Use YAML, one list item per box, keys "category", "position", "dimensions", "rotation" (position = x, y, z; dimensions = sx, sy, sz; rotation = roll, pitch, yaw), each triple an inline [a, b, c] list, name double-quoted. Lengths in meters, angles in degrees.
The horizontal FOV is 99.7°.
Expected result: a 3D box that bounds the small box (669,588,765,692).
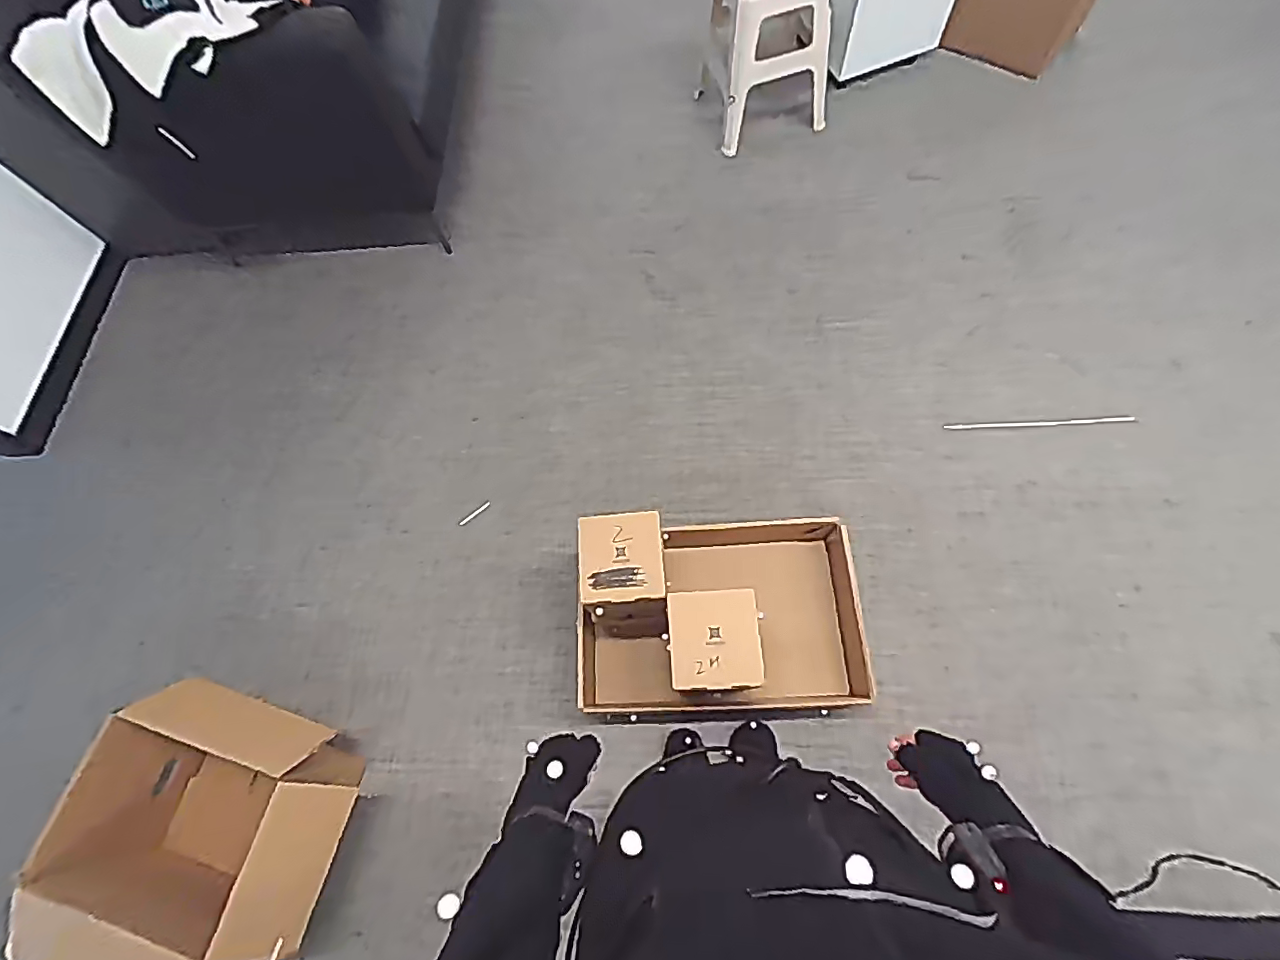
- category: "small box"
  position: [0.142, 0.317, 1.054]
  dimensions: [0.168, 0.176, 0.179]
  rotation: [-4, 68, 4]
